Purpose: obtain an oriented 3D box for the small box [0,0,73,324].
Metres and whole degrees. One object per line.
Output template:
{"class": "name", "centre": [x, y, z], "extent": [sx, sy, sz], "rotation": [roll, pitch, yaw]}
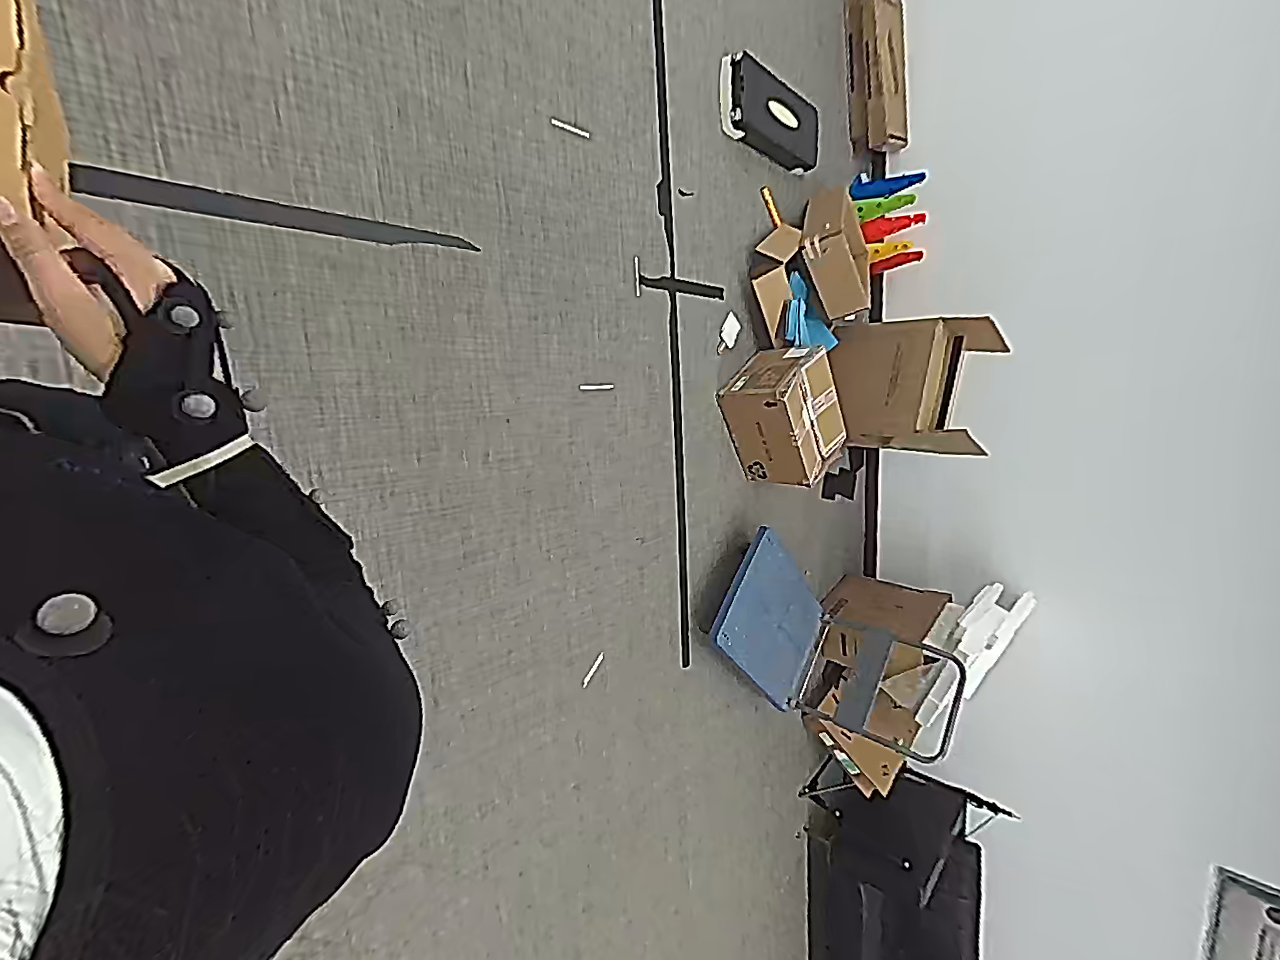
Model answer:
{"class": "small box", "centre": [-0.459, -0.203, 0.307], "extent": [0.179, 0.176, 0.168], "rotation": [-2, 84, -43]}
